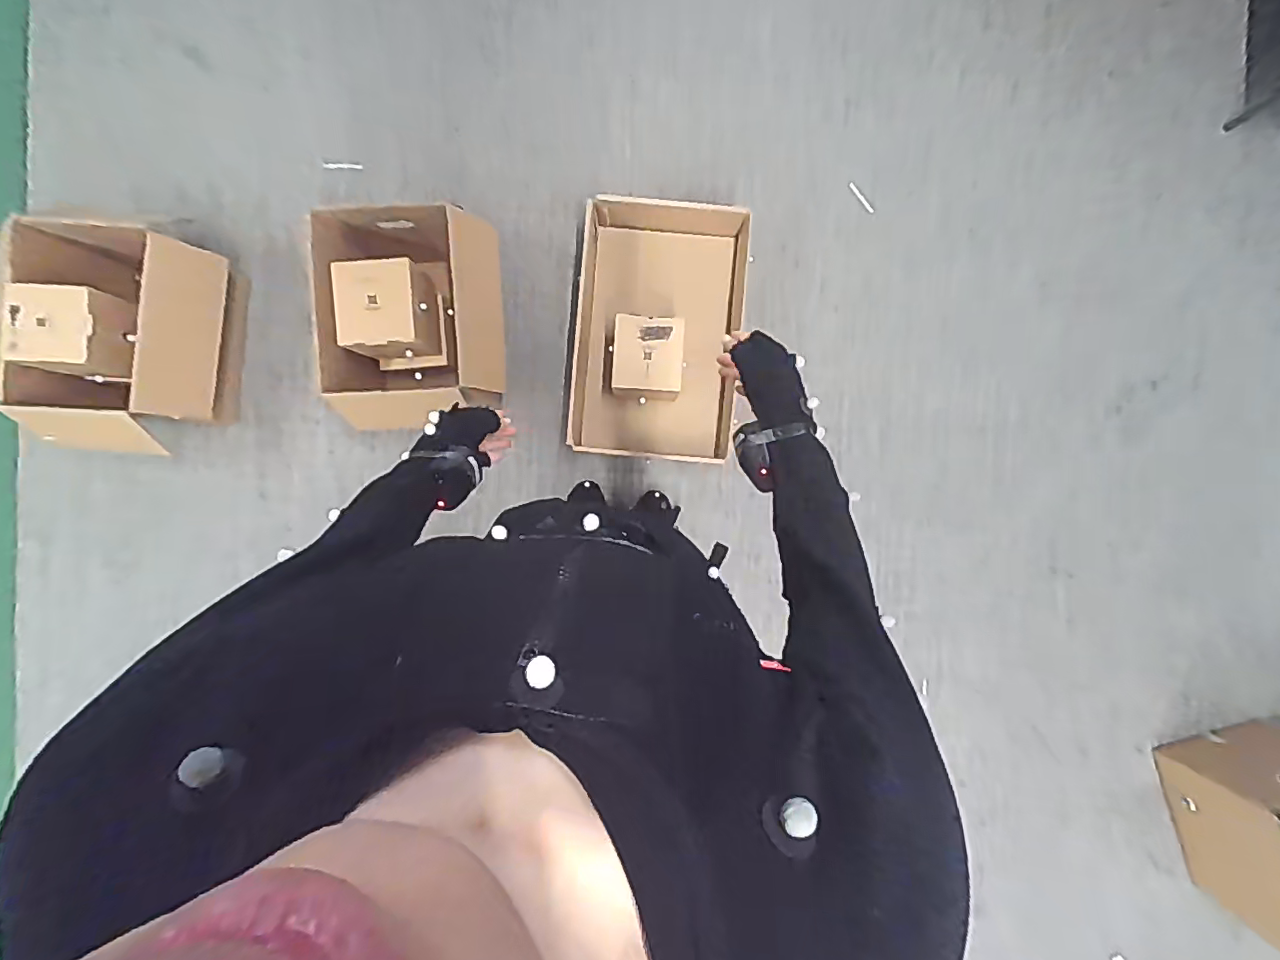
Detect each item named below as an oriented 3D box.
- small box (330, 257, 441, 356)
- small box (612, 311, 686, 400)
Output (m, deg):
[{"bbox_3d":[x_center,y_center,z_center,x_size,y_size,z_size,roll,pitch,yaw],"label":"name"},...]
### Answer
[{"bbox_3d":[-0.559,-0.378,1.209,0.168,0.176,0.179,-4,92,0],"label":"small box"},{"bbox_3d":[0.018,-0.303,1.340,0.168,0.176,0.179,3,90,0],"label":"small box"}]
